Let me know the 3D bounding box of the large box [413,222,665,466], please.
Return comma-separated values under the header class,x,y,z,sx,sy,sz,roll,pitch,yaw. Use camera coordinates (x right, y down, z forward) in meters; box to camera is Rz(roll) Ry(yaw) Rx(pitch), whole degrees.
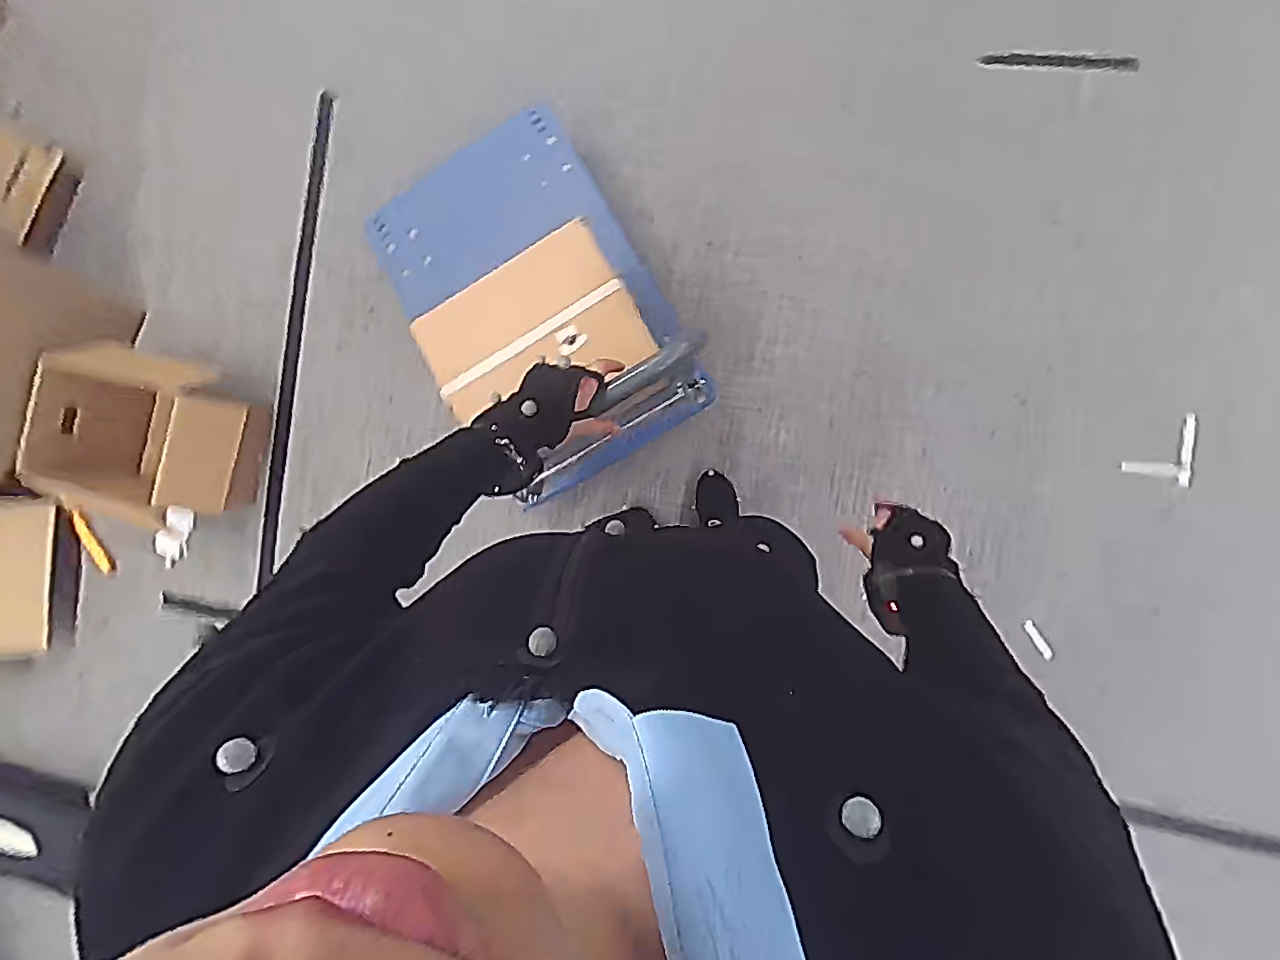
class,x,y,z,sx,sy,sz,roll,pitch,yaw
large box,-0.195,-0.265,1.195,0.408,0.320,0.320,-31,87,5
